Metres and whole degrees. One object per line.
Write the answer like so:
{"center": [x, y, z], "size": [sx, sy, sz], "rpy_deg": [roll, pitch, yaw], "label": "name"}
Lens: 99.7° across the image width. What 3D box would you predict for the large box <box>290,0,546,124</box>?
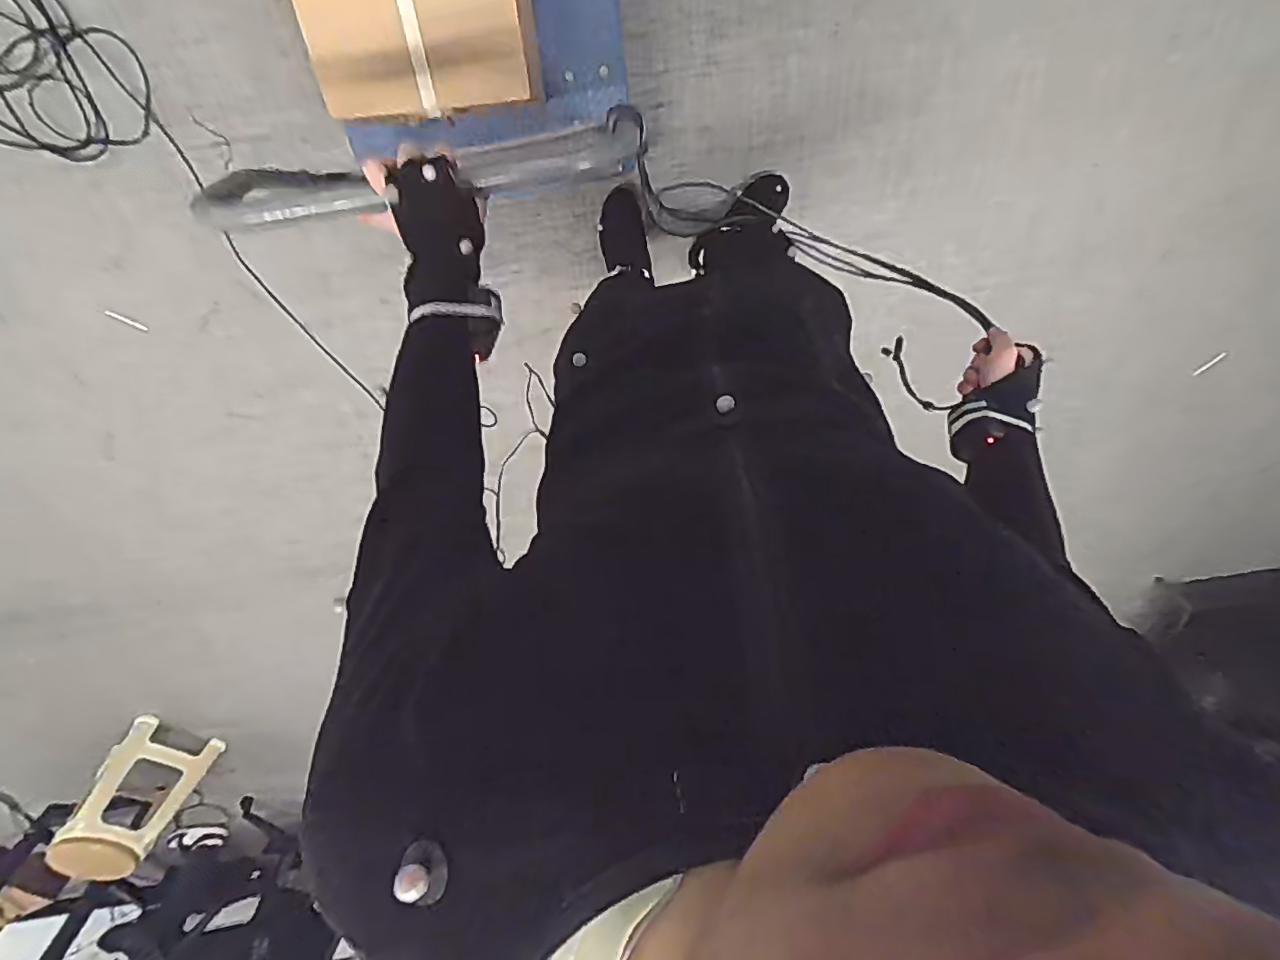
{"center": [-0.346, -0.810, 0.840], "size": [0.320, 0.320, 0.408], "rpy_deg": [-7, 123, -1], "label": "large box"}
